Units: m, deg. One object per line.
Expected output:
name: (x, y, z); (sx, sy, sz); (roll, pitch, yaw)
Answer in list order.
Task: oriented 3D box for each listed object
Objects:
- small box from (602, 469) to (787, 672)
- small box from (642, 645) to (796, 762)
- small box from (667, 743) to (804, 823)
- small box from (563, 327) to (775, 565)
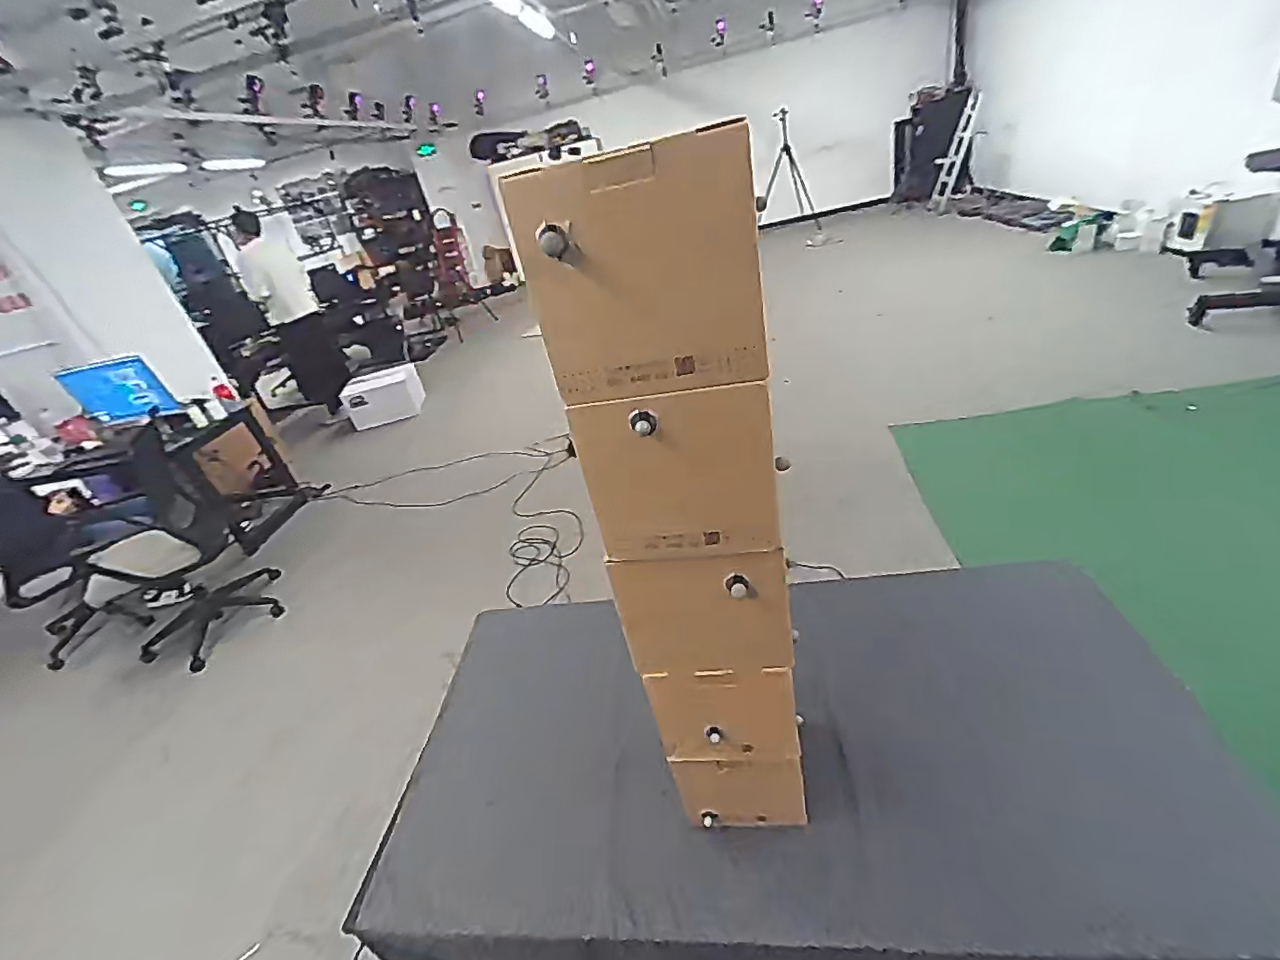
small box: (0.072, 0.101, 0.622); (0.179, 0.176, 0.168); (-7, 31, 12)
small box: (0.106, 0.238, 0.708); (0.168, 0.176, 0.179); (-8, 31, 11)
small box: (0.140, 0.374, 0.790); (0.168, 0.176, 0.179); (-8, 30, 11)
small box: (0.041, -0.036, 0.540); (0.168, 0.176, 0.179); (-6, 31, 13)
